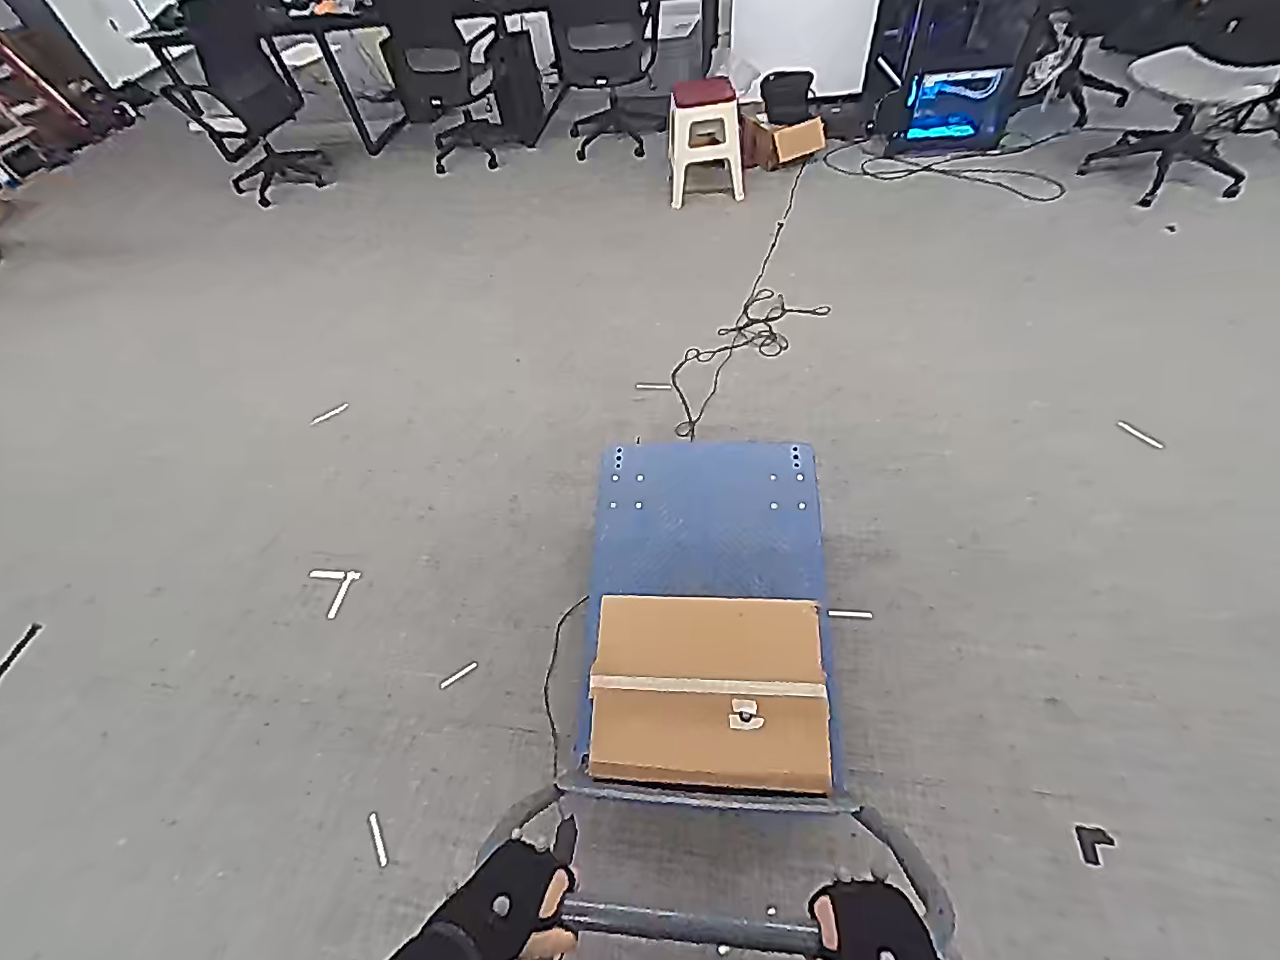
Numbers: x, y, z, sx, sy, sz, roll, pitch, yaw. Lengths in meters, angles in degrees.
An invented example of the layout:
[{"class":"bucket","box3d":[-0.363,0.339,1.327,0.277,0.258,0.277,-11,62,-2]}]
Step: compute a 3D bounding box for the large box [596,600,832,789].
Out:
[{"class":"large box","box3d":[0.138,0.435,1.103,0.408,0.320,0.320,-1,66,6]}]
